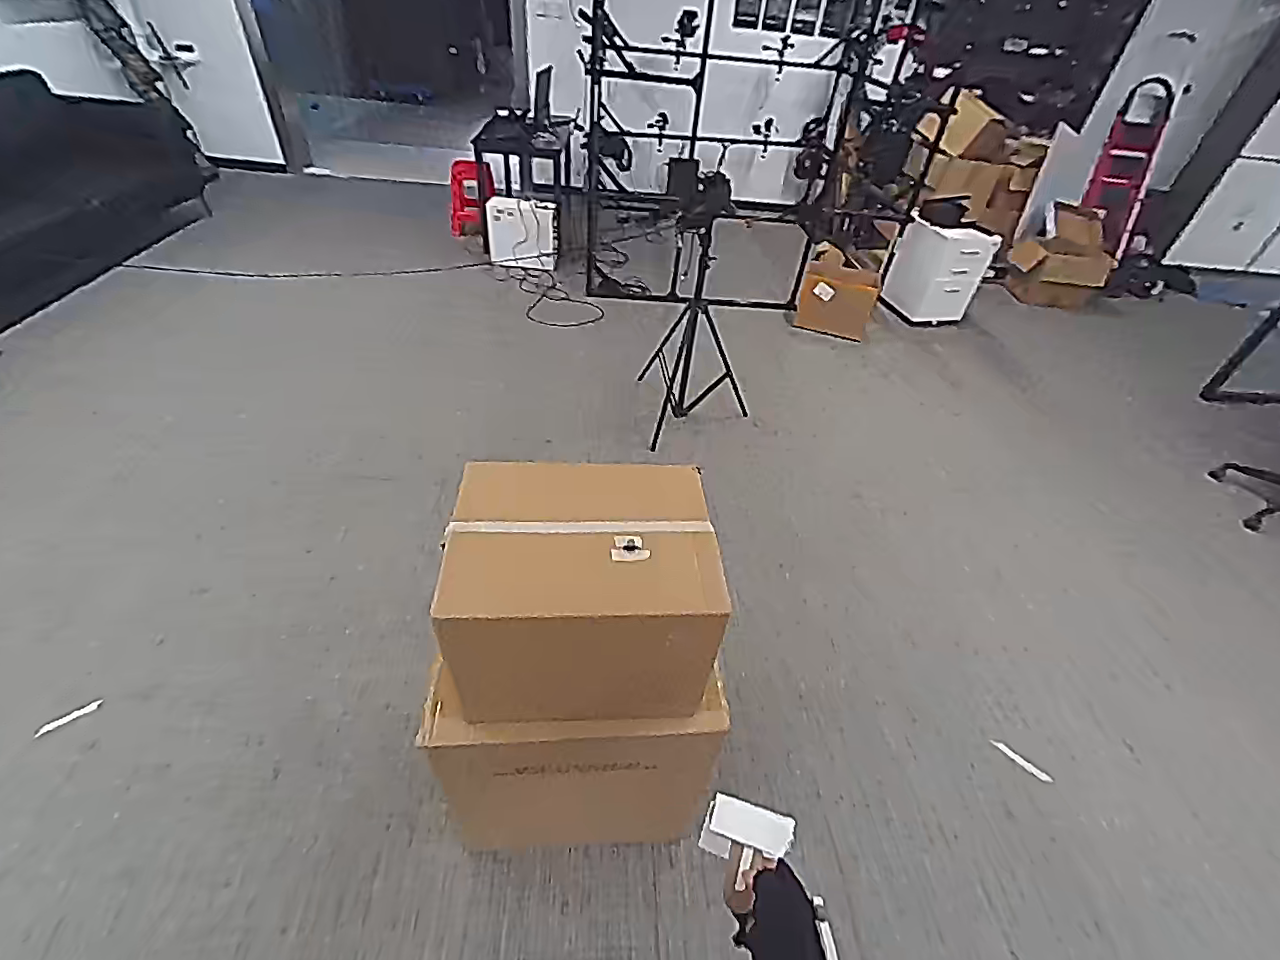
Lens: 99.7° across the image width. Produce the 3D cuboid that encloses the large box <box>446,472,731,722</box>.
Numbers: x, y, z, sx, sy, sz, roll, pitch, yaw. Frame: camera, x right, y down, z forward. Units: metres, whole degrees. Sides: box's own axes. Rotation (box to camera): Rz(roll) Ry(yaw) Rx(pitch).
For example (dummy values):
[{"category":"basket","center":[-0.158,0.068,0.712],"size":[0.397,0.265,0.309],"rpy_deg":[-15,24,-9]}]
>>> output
[{"category":"large box","center":[-0.093,0.200,0.951],"size":[0.408,0.320,0.320],"rpy_deg":[1,42,-7]}]
